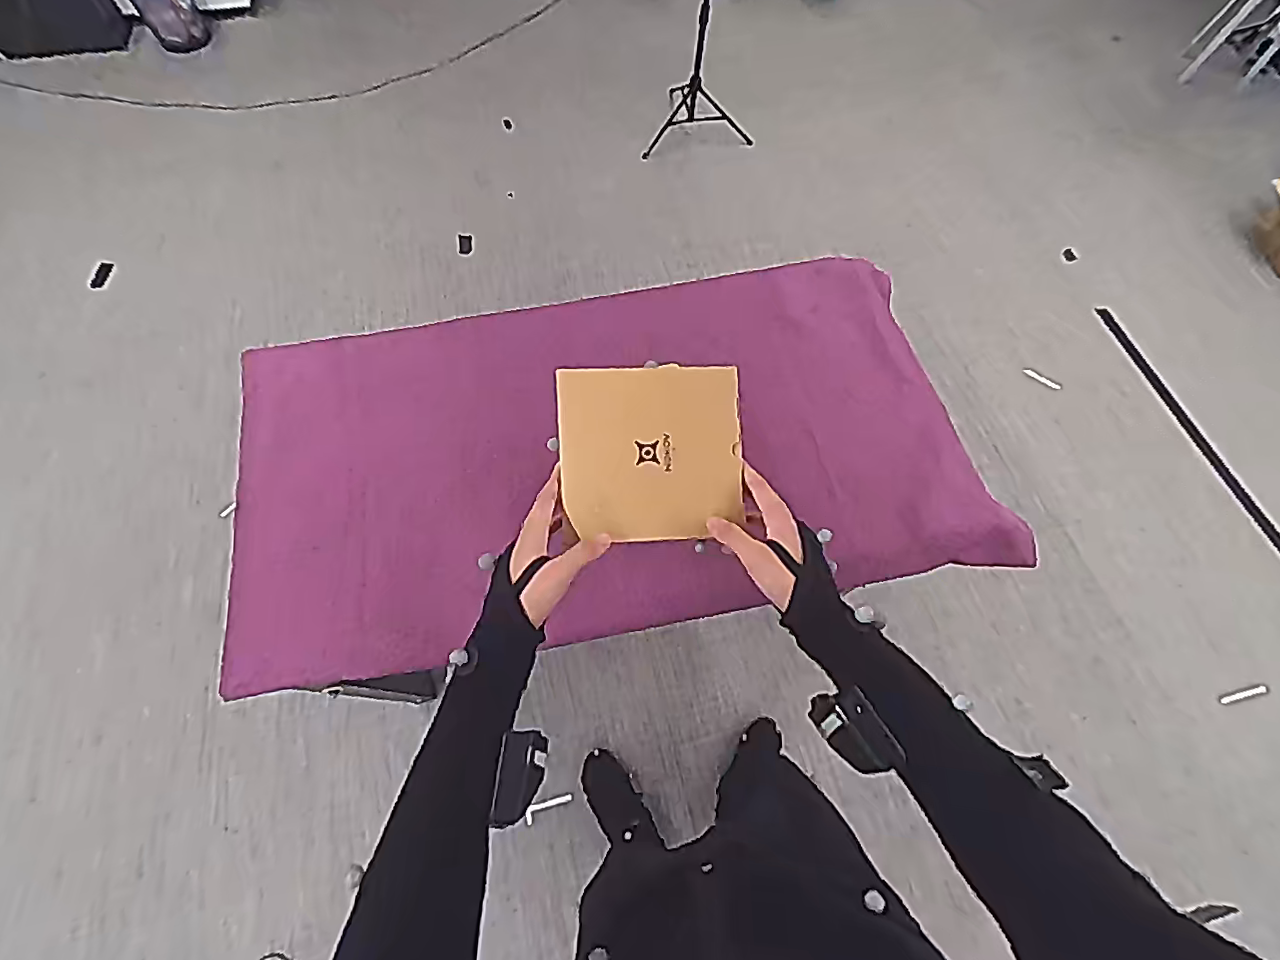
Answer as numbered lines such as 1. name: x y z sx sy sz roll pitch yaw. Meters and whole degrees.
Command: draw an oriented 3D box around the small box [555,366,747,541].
1. small box: 0.003 -0.019 0.583 0.179 0.176 0.168 -2 86 -7
